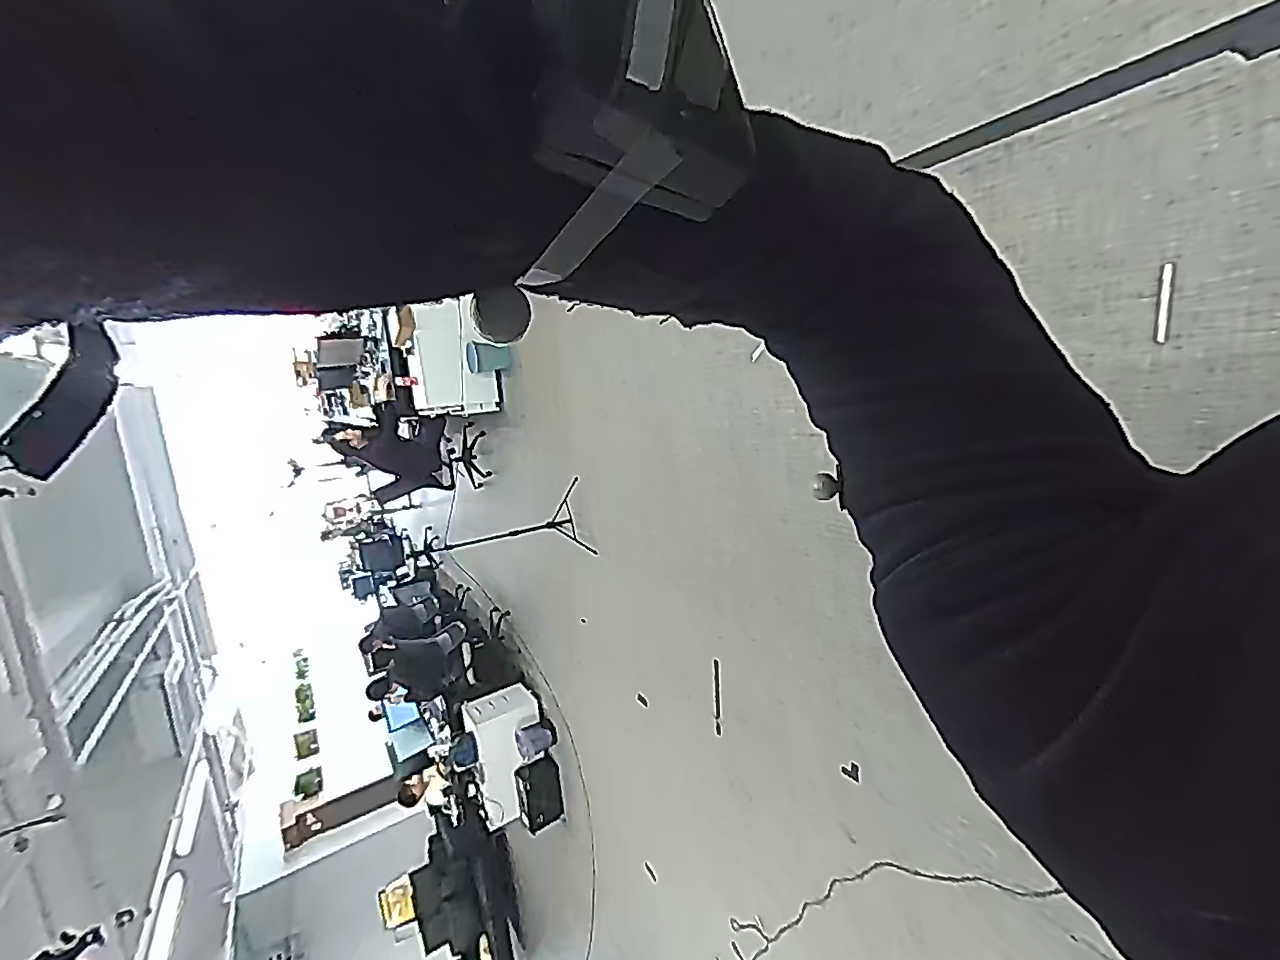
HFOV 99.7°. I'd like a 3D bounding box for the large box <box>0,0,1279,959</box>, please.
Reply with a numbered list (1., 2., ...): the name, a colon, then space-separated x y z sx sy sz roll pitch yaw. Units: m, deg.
1. large box: 0.103 0.068 0.154 0.408 0.320 0.320 12 -119 51
